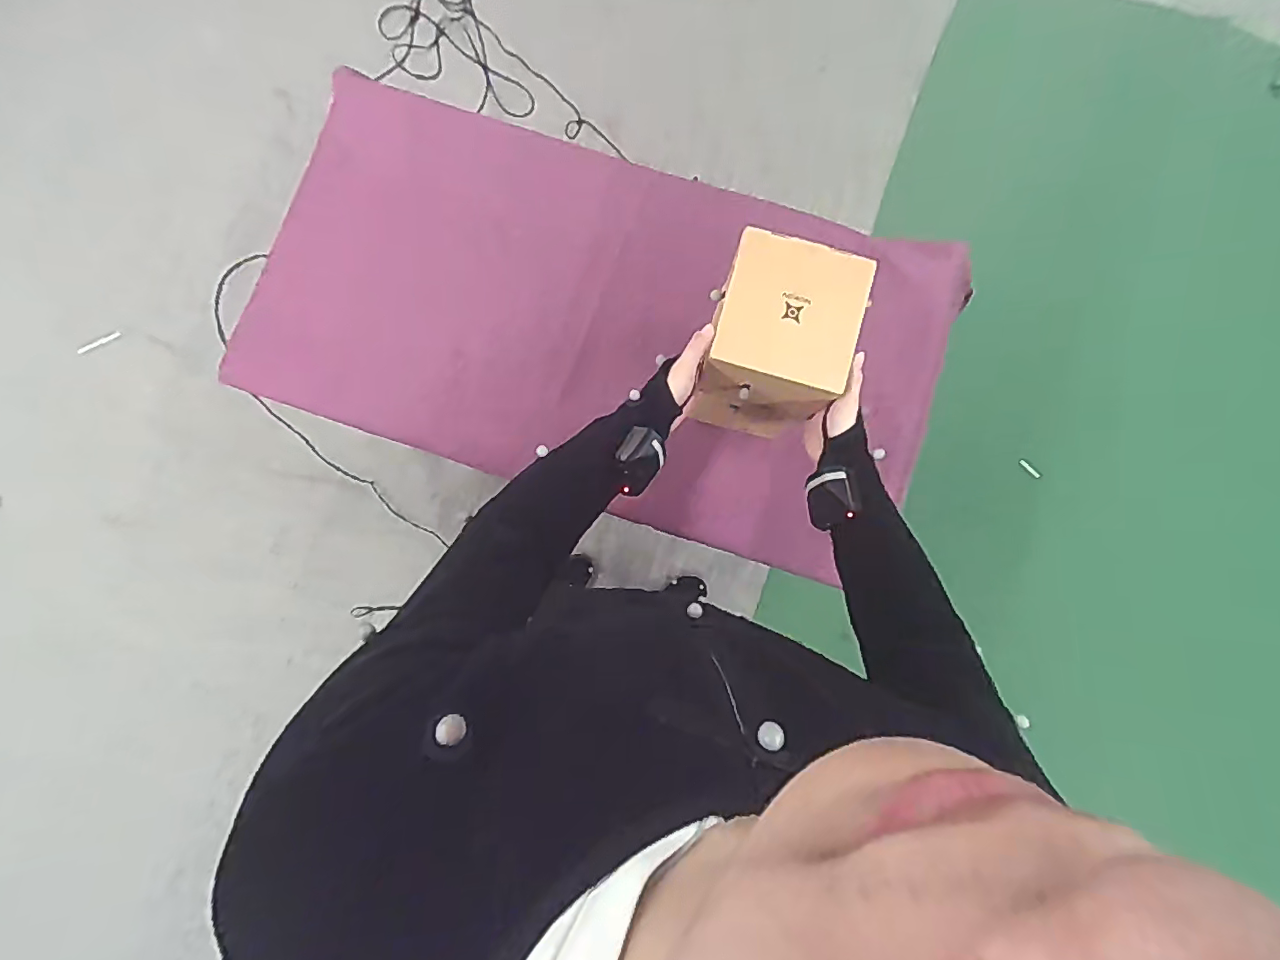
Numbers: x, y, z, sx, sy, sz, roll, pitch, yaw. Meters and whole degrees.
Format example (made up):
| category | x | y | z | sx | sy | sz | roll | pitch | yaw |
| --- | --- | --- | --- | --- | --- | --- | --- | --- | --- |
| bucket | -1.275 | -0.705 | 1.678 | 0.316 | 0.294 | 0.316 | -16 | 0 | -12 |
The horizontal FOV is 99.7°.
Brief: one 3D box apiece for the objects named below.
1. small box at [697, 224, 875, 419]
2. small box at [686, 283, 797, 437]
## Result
| category | x | y | z | sx | sy | sz | roll | pitch | yaw |
| --- | --- | --- | --- | --- | --- | --- | --- | --- | --- |
| small box | 0.177 | -0.193 | 0.711 | 0.168 | 0.176 | 0.179 | 16 | 84 | 1 |
| small box | 0.176 | -0.185 | 0.873 | 0.168 | 0.176 | 0.179 | 15 | 83 | 1 |
